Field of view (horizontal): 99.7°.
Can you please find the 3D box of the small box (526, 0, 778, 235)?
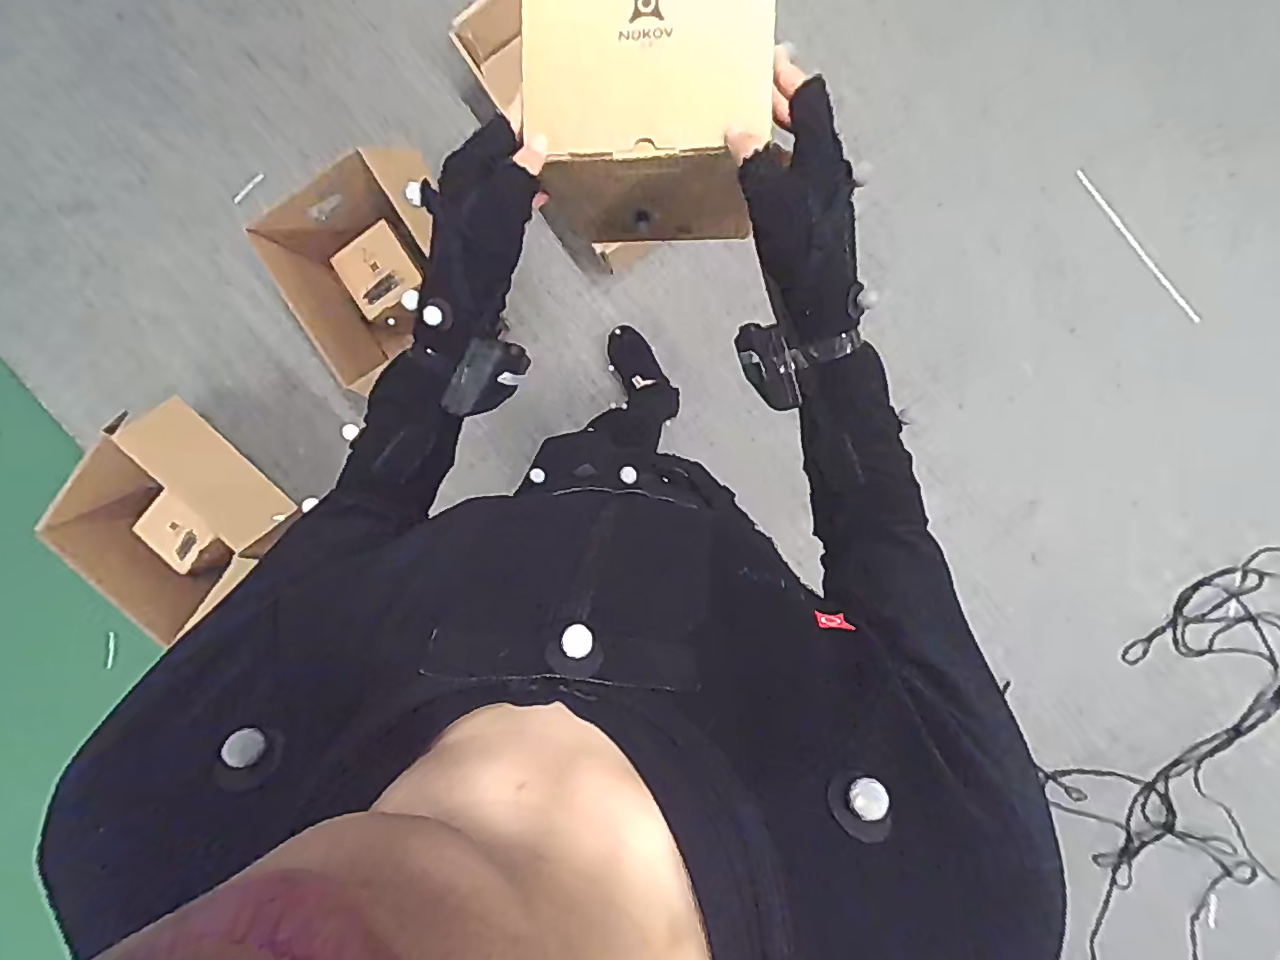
[{"bbox_3d":[0.015,-0.314,0.427,0.168,0.176,0.179,1,96,7],"label":"small box"}]
